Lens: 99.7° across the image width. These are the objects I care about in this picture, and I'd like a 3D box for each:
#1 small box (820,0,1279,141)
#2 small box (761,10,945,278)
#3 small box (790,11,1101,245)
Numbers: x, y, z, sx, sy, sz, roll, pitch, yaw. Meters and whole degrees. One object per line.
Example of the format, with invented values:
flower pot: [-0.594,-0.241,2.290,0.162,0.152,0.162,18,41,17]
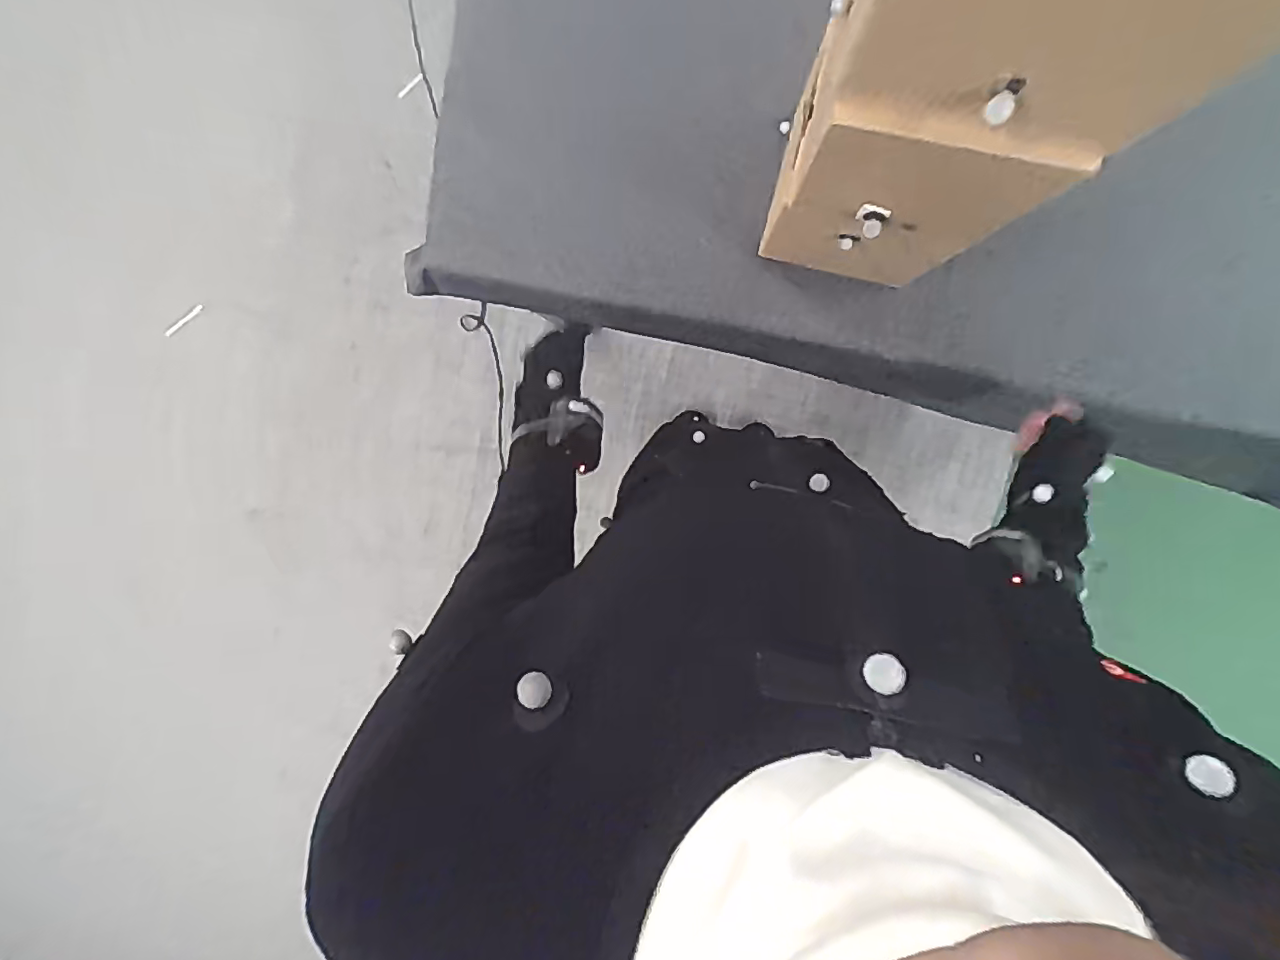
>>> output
small box: [0.202,-0.282,0.236,0.179,0.176,0.168,15,99,4]
small box: [0.235,-0.323,0.557,0.179,0.176,0.168,15,99,3]
small box: [0.219,-0.299,0.398,0.168,0.176,0.179,14,100,5]
